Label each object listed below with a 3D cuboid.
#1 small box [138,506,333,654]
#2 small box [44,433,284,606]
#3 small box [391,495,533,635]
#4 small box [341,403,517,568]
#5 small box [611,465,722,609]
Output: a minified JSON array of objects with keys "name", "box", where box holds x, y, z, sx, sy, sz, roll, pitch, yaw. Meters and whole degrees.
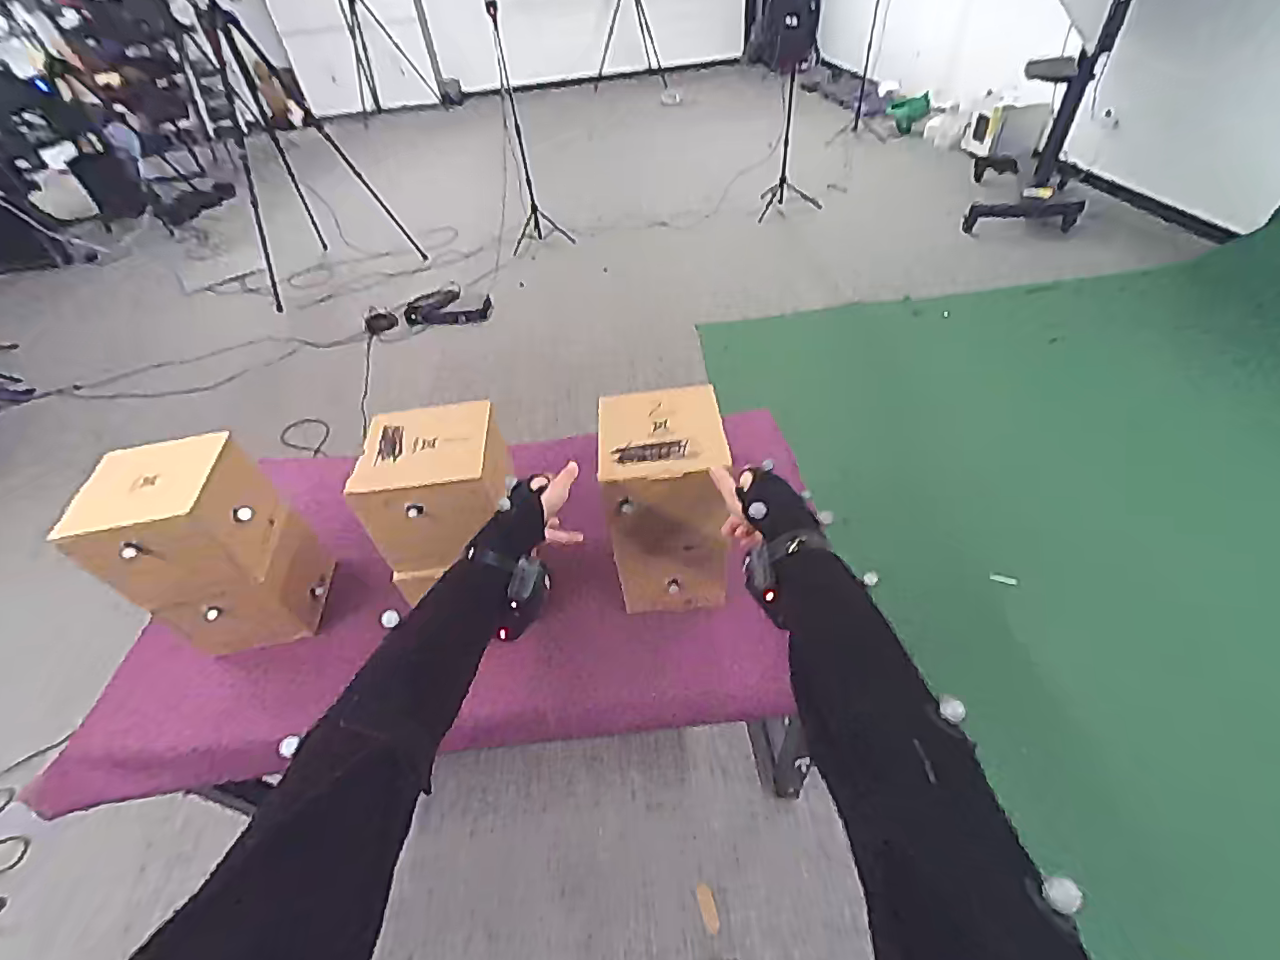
[{"name":"small box","box":[-0.656,0.171,0.905,0.179,0.176,0.168,-10,46,-4]},{"name":"small box","box":[-0.663,0.060,0.787,0.179,0.176,0.168,-12,46,-4]},{"name":"small box","box":[-0.280,0.134,0.896,0.168,0.176,0.179,-6,45,1]},{"name":"small box","box":[-0.290,0.011,0.787,0.179,0.176,0.168,-8,44,-2]},{"name":"small box","box":[0.045,0.100,0.893,0.168,0.176,0.179,-5,45,2]}]
